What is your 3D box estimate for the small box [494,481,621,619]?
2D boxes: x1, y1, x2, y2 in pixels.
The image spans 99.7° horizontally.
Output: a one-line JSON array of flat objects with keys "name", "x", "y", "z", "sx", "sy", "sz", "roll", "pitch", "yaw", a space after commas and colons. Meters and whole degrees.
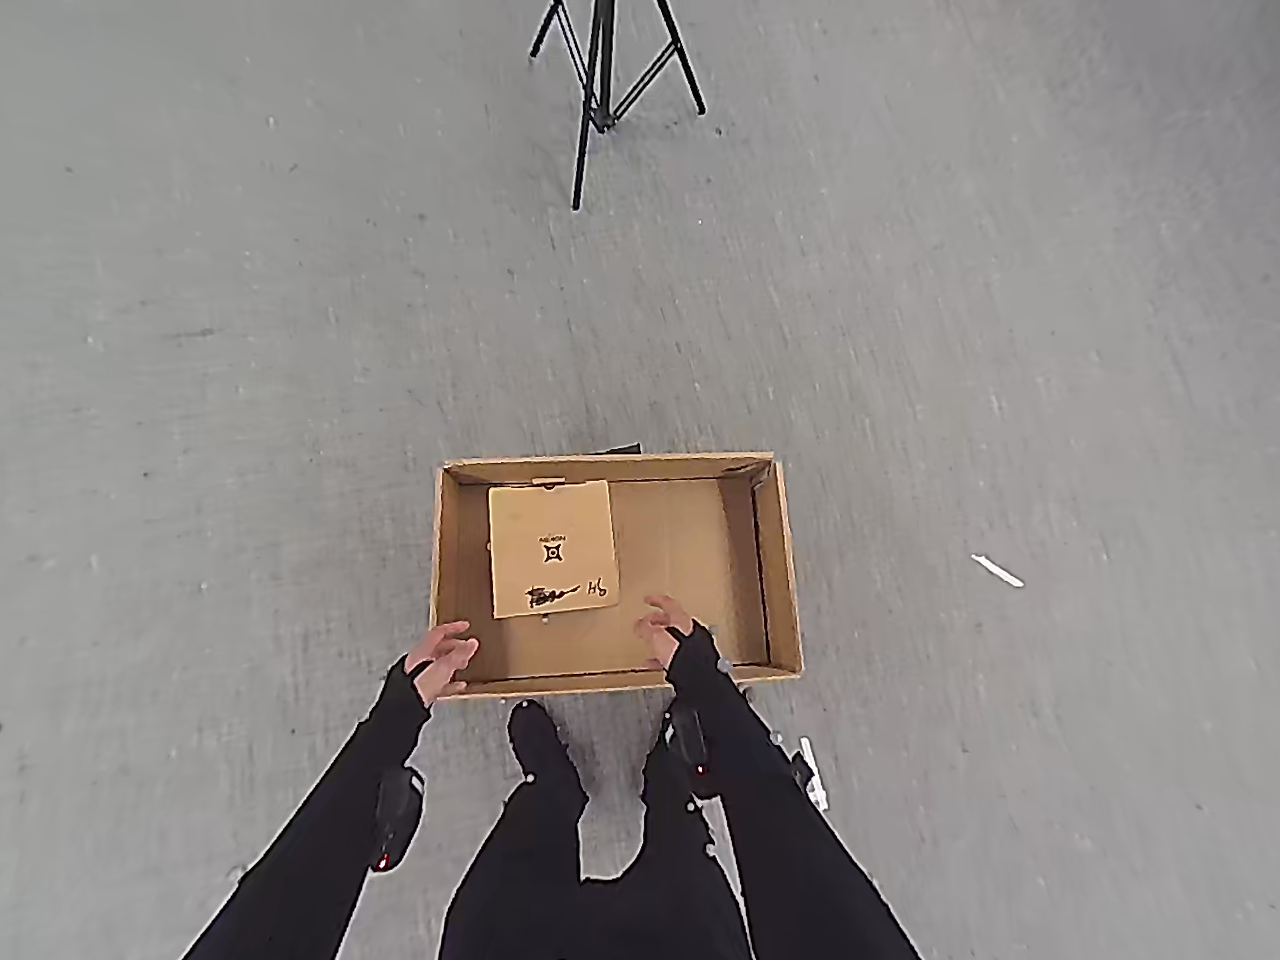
[{"name": "small box", "x": -0.124, "y": 0.110, "z": 0.804, "sx": 0.168, "sy": 0.176, "sz": 0.179, "roll": -4, "pitch": 76, "yaw": -8}]
